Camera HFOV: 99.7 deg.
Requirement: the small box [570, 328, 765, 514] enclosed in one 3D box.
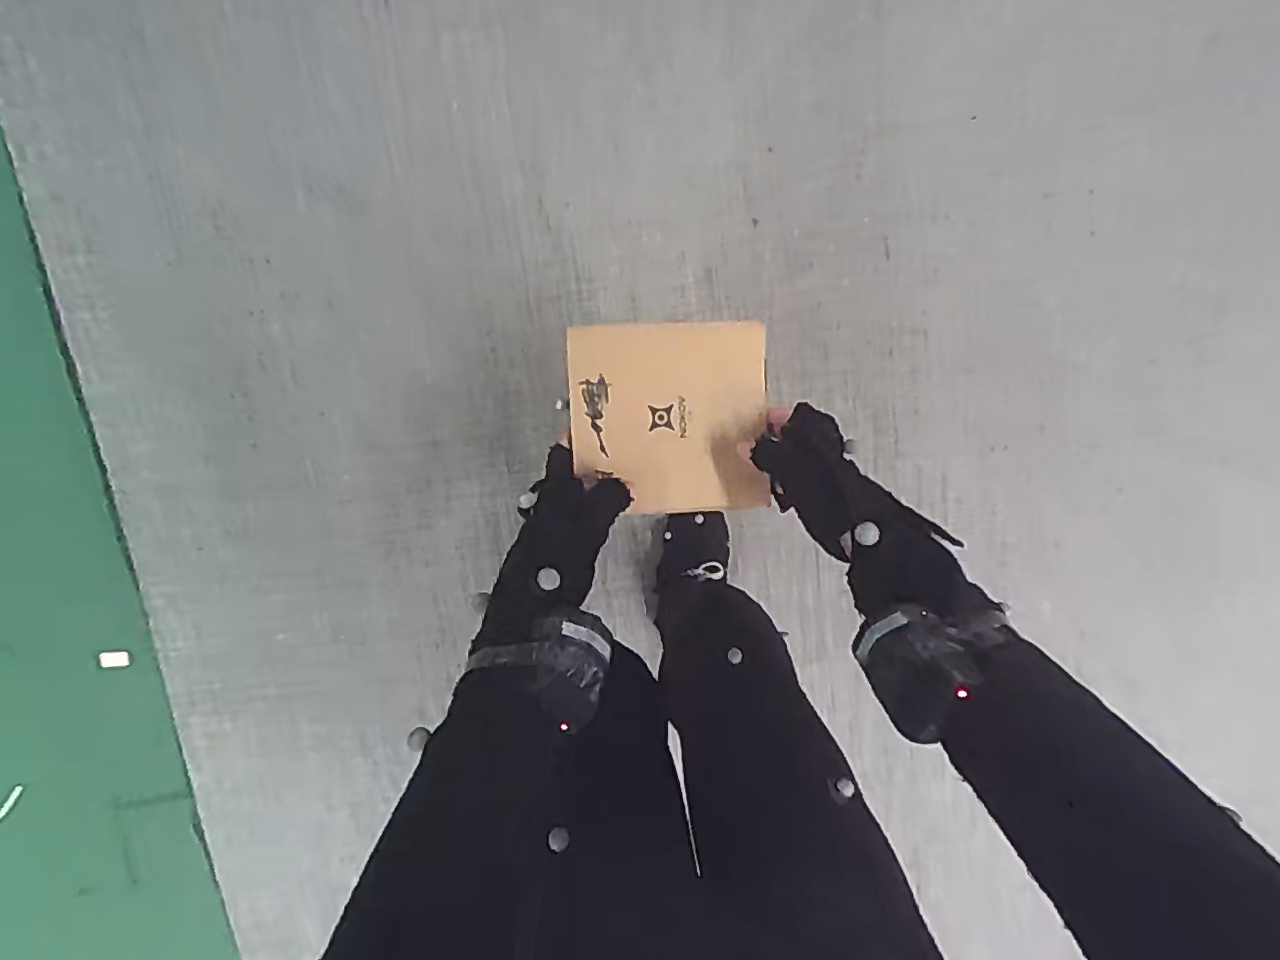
[{"bbox_3d":[0.019,-0.057,0.562,0.179,0.176,0.168,-2,92,-5],"label":"small box"}]
